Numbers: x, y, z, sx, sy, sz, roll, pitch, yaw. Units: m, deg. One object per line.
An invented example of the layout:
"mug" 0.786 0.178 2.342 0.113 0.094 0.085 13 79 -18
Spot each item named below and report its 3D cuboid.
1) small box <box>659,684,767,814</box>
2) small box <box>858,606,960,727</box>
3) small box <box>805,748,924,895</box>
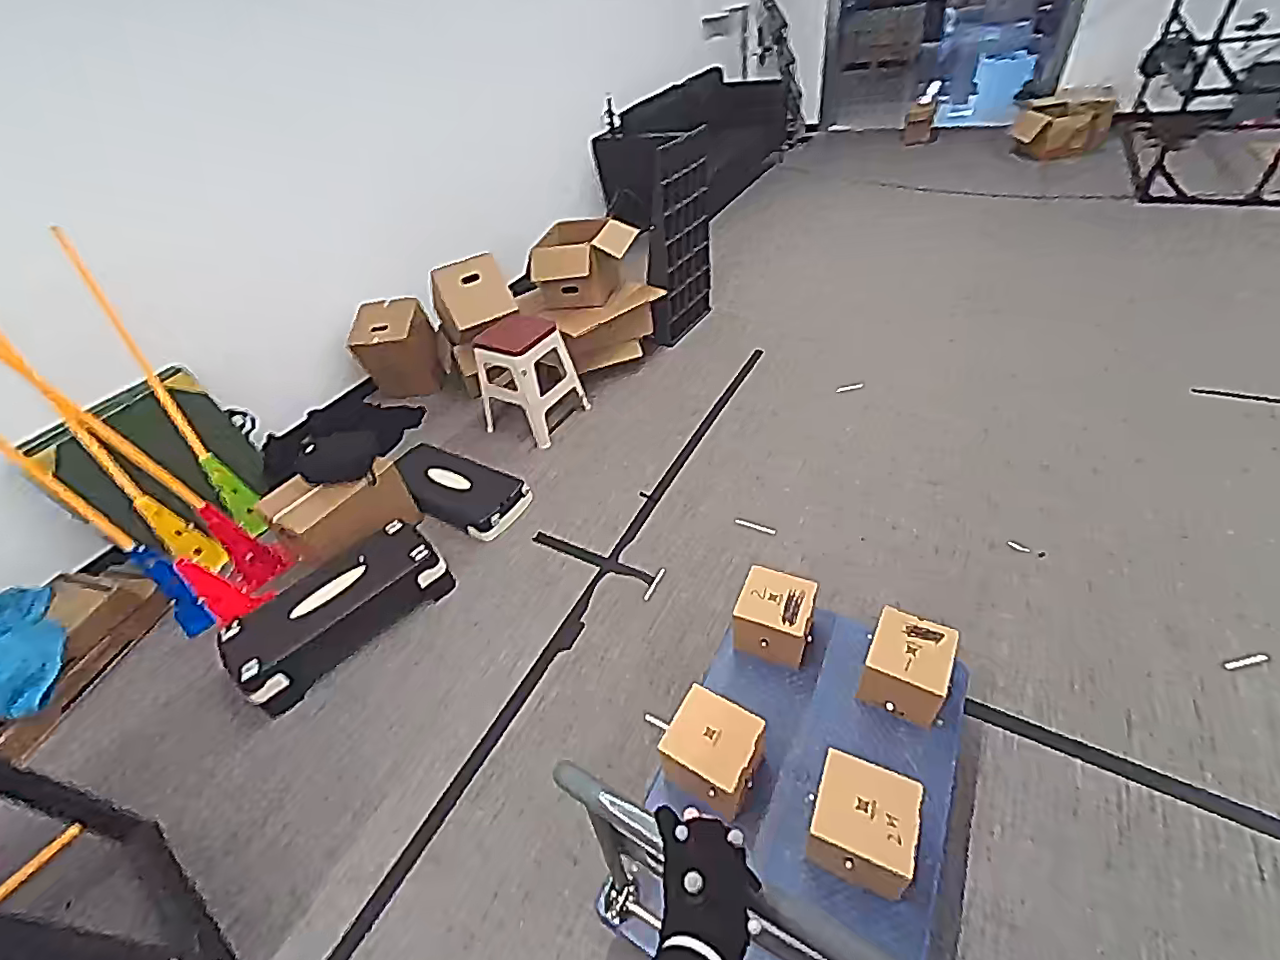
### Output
"small box" 0.161 0.591 1.185 0.179 0.176 0.168 20 49 27
"small box" 0.625 0.437 1.268 0.168 0.176 0.179 18 50 27
"small box" 0.430 0.666 1.052 0.179 0.176 0.168 14 47 24
